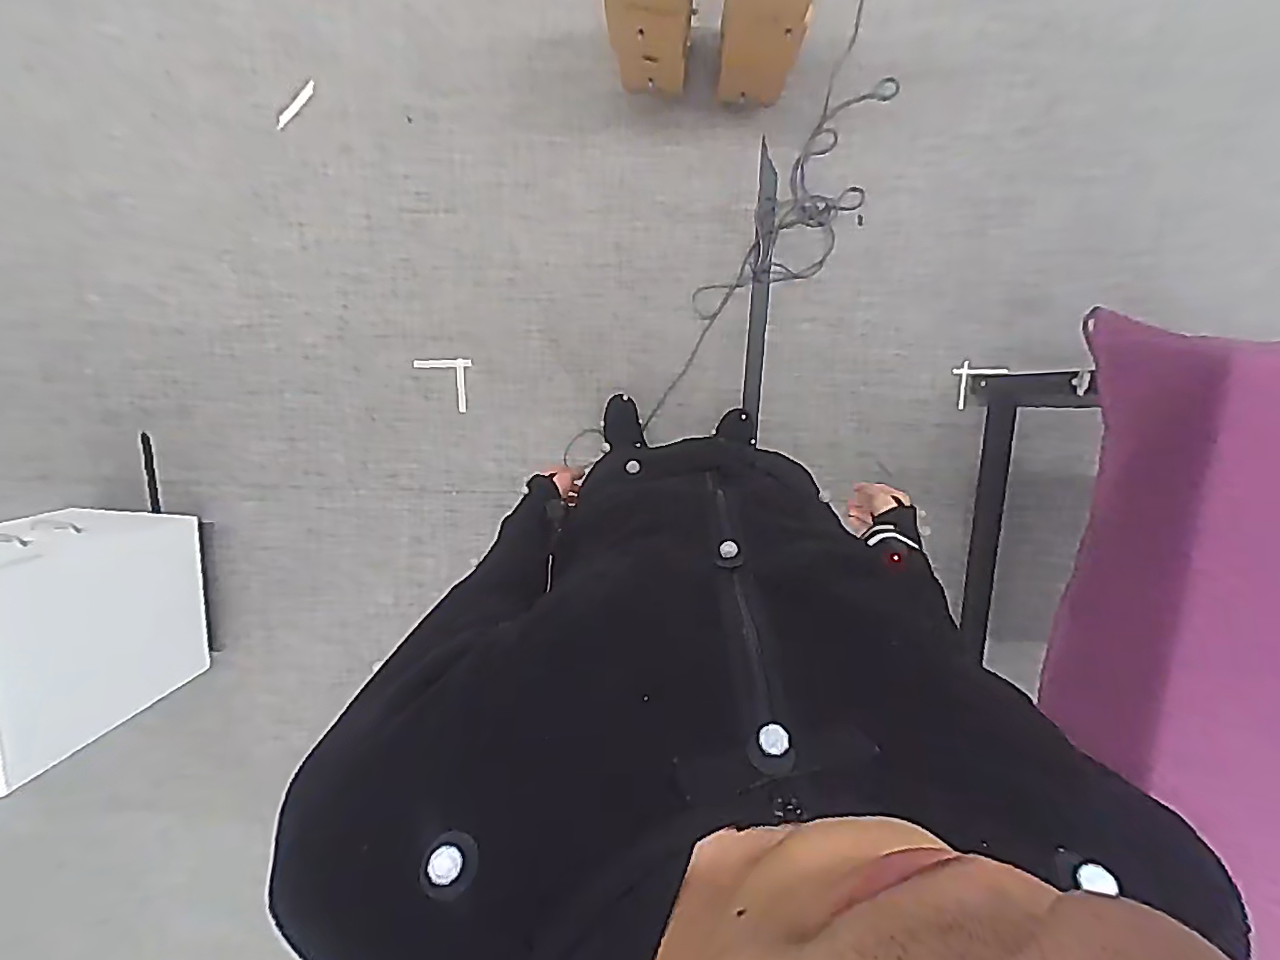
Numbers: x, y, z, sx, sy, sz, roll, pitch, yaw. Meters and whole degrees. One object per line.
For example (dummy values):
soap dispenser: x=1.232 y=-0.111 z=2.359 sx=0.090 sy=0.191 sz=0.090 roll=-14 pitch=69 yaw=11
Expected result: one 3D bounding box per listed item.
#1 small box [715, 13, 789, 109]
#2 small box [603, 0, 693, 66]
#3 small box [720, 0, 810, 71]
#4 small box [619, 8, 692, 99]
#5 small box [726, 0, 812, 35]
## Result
small box: x=0.282 y=-1.076 z=1.363 sx=0.168 sy=0.176 sz=0.179 roll=3 pitch=100 yaw=3
small box: x=0.025 y=-1.067 z=1.204 sx=0.179 sy=0.176 sz=0.168 roll=11 pitch=99 yaw=1
small box: x=0.276 y=-1.049 z=1.203 sx=0.179 sy=0.176 sz=0.168 roll=4 pitch=99 yaw=1
small box: x=0.038 y=-1.108 z=1.364 sx=0.168 sy=0.176 sz=0.179 roll=7 pitch=100 yaw=1
small box: x=0.268 y=-1.021 z=1.042 sx=0.168 sy=0.176 sz=0.179 roll=11 pitch=98 yaw=0
